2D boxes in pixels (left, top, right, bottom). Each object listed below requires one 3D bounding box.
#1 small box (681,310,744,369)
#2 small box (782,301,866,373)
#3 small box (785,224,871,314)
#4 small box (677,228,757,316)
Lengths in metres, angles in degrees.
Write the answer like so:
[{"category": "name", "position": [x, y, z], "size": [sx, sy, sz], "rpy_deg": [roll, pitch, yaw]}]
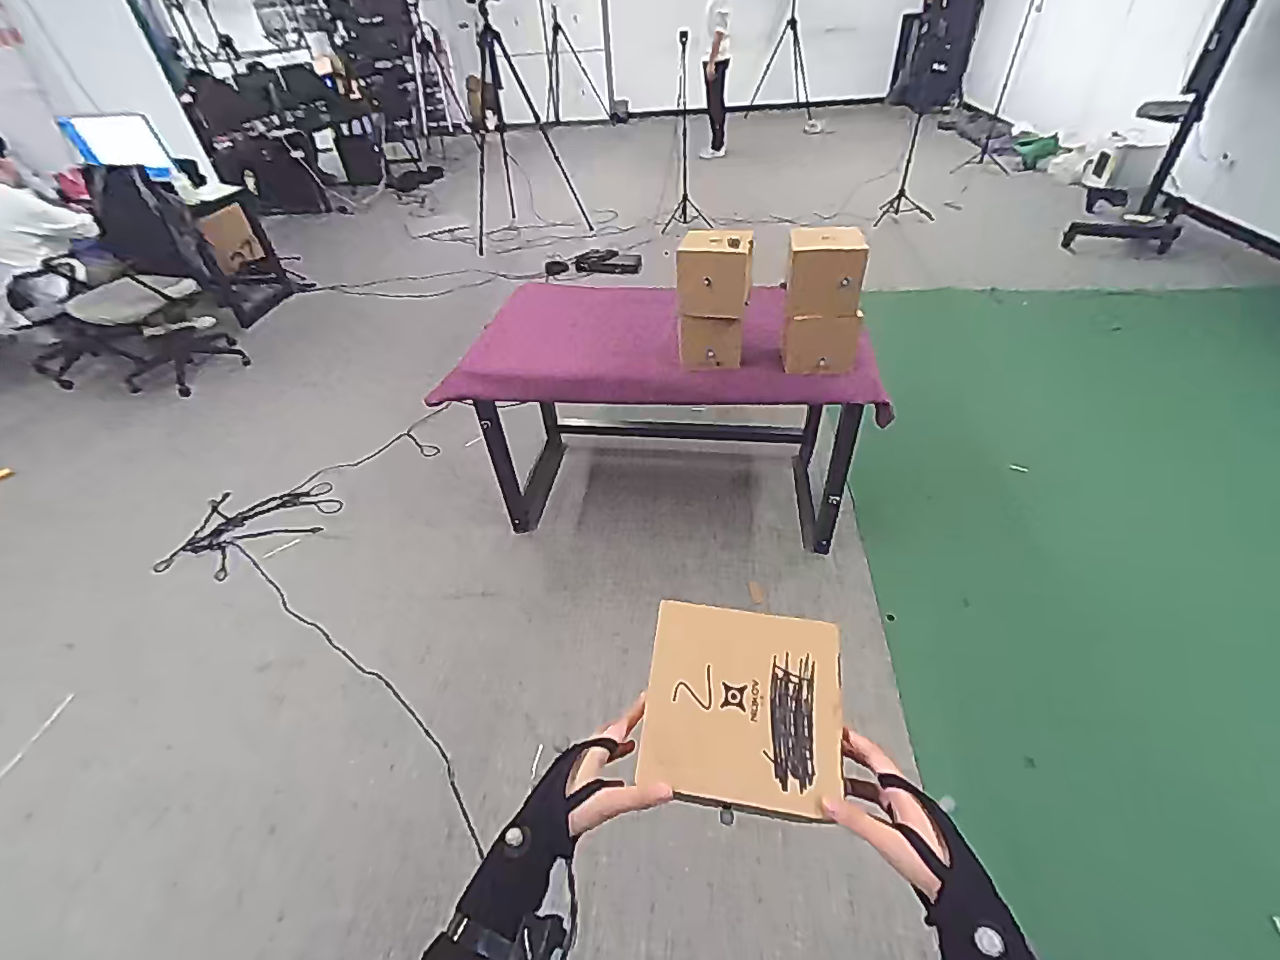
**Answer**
[{"category": "small box", "position": [0.199, -0.430, 1.528], "size": [0.168, 0.176, 0.179], "rpy_deg": [-2, 41, 4]}, {"category": "small box", "position": [0.489, -0.403, 1.466], "size": [0.179, 0.176, 0.168], "rpy_deg": [-1, 42, 6]}, {"category": "small box", "position": [0.466, -0.531, 1.365], "size": [0.179, 0.176, 0.168], "rpy_deg": [3, 42, 11]}, {"category": "small box", "position": [0.200, -0.537, 1.400], "size": [0.179, 0.176, 0.168], "rpy_deg": [7, 42, 15]}]
